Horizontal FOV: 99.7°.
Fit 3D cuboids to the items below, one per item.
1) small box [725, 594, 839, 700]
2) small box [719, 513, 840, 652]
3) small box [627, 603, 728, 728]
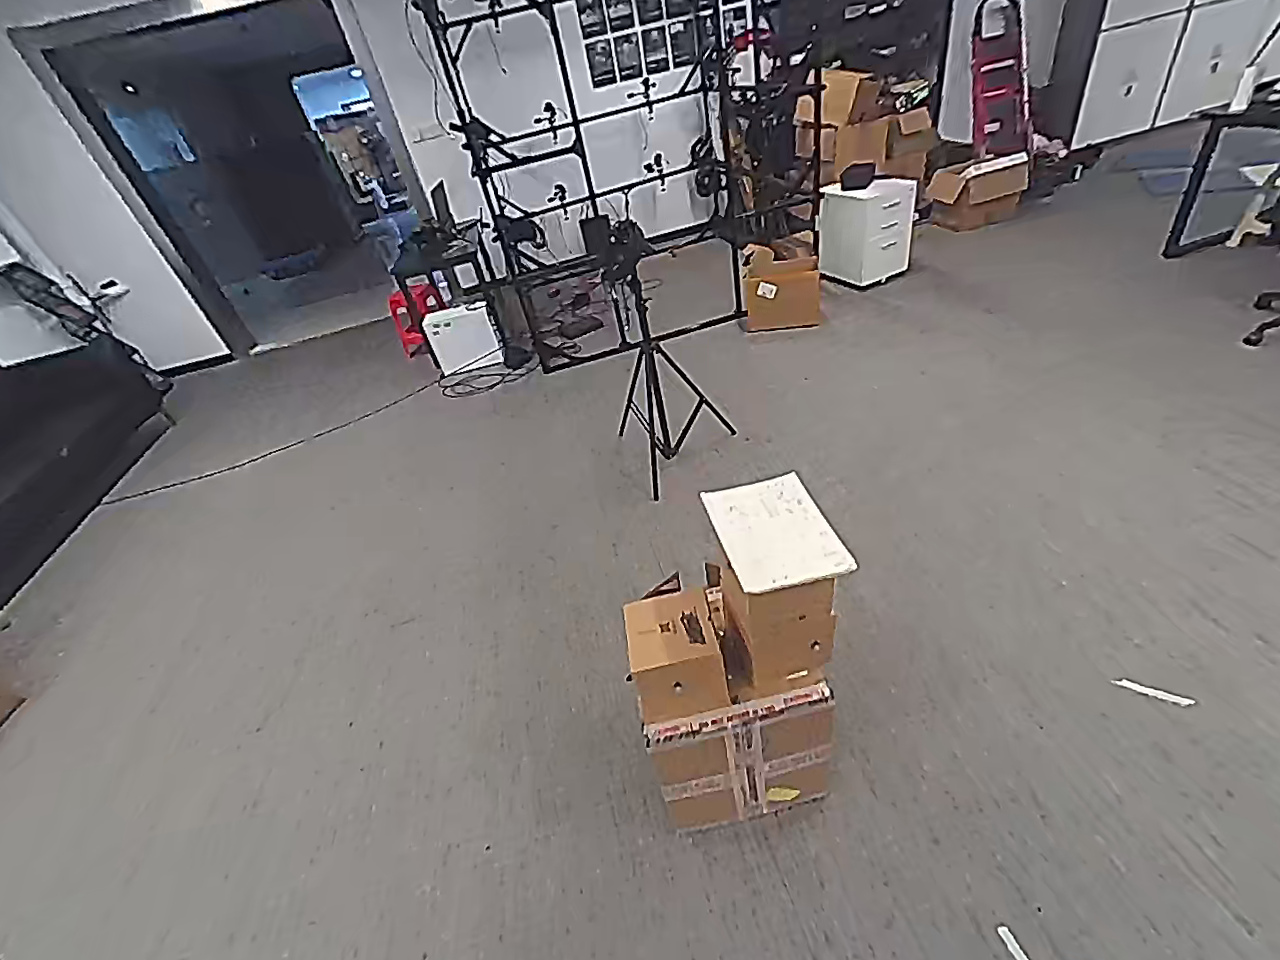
[{"bbox_3d":[0.289,0.325,1.128,0.179,0.176,0.168,-16,38,-6],"label":"small box"},{"bbox_3d":[0.259,0.194,1.035,0.168,0.176,0.179,-15,37,-5],"label":"small box"},{"bbox_3d":[0.080,0.384,1.114,0.179,0.176,0.168,-13,39,3],"label":"small box"}]
